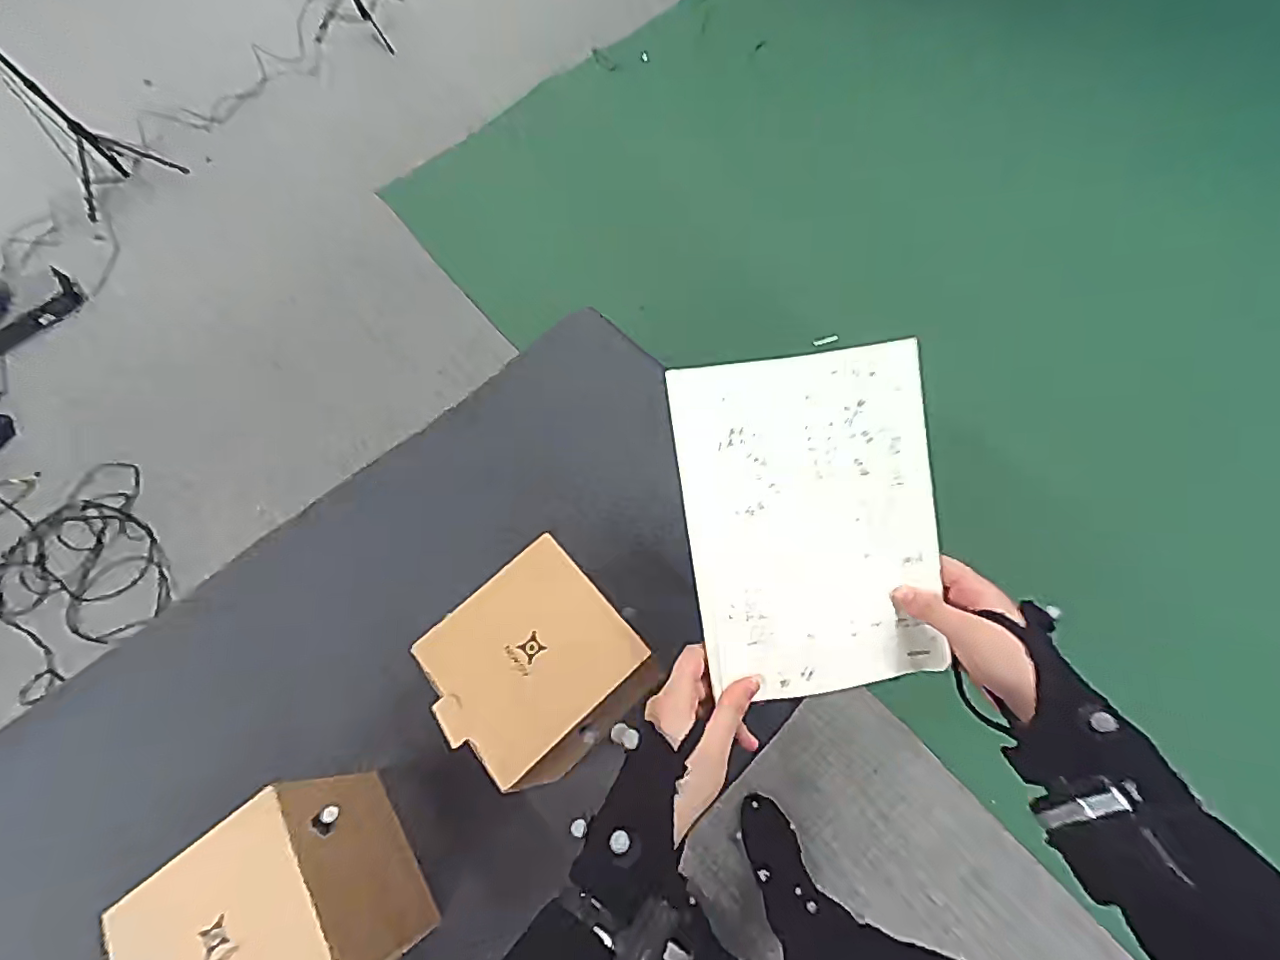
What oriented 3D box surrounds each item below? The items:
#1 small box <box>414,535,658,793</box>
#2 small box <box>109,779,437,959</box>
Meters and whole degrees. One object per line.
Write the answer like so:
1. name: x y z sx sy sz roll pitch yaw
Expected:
1. small box: -0.095 0.194 0.581 0.179 0.176 0.168 -42 66 -10
2. small box: -0.332 0.415 0.517 0.168 0.176 0.179 -38 66 -8
